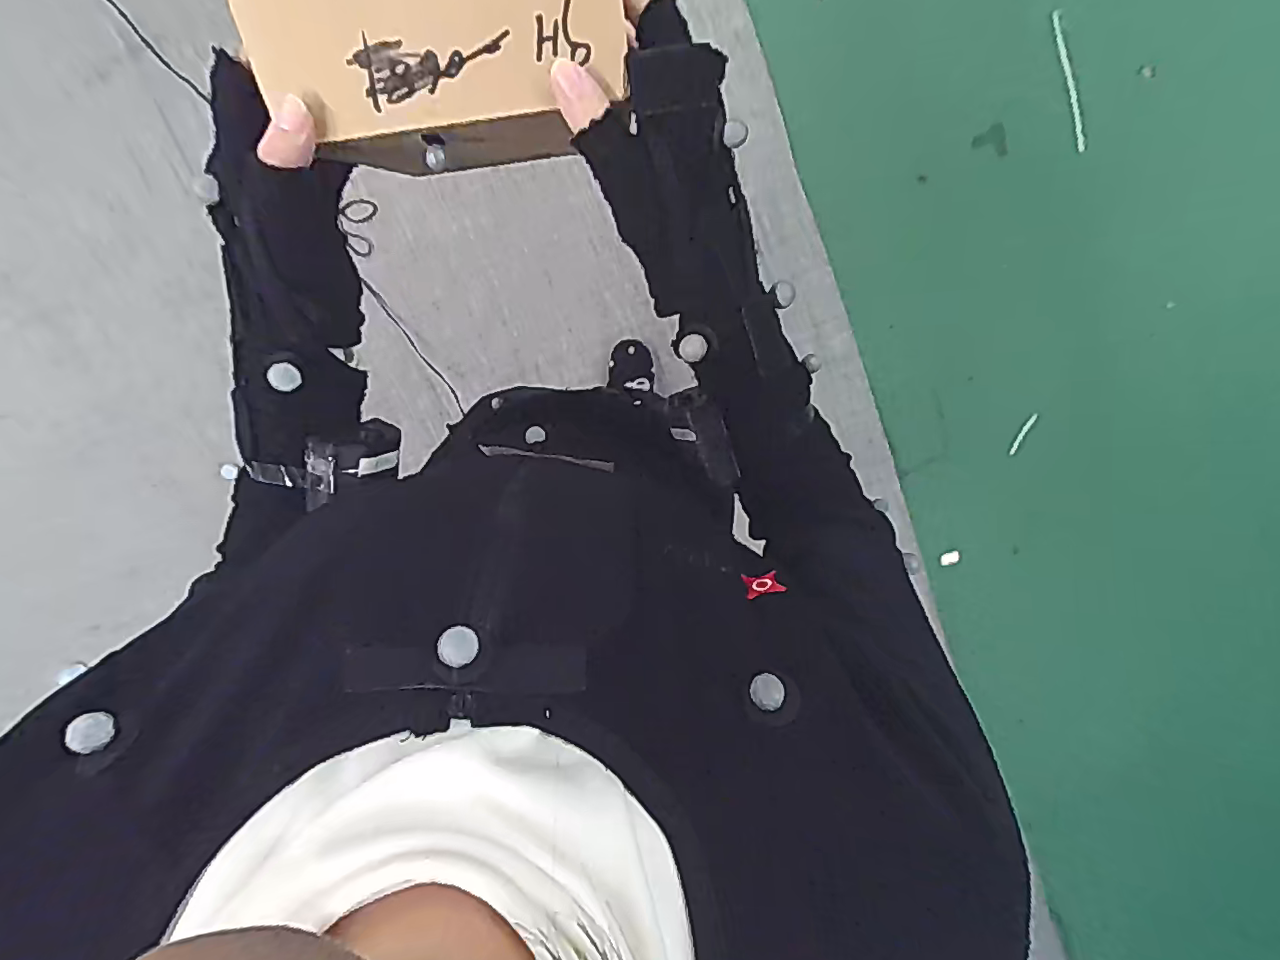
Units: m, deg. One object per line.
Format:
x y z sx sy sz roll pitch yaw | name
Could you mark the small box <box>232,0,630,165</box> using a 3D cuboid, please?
-0.099 -0.284 0.283 0.168 0.176 0.179 -8 115 2 | small box
